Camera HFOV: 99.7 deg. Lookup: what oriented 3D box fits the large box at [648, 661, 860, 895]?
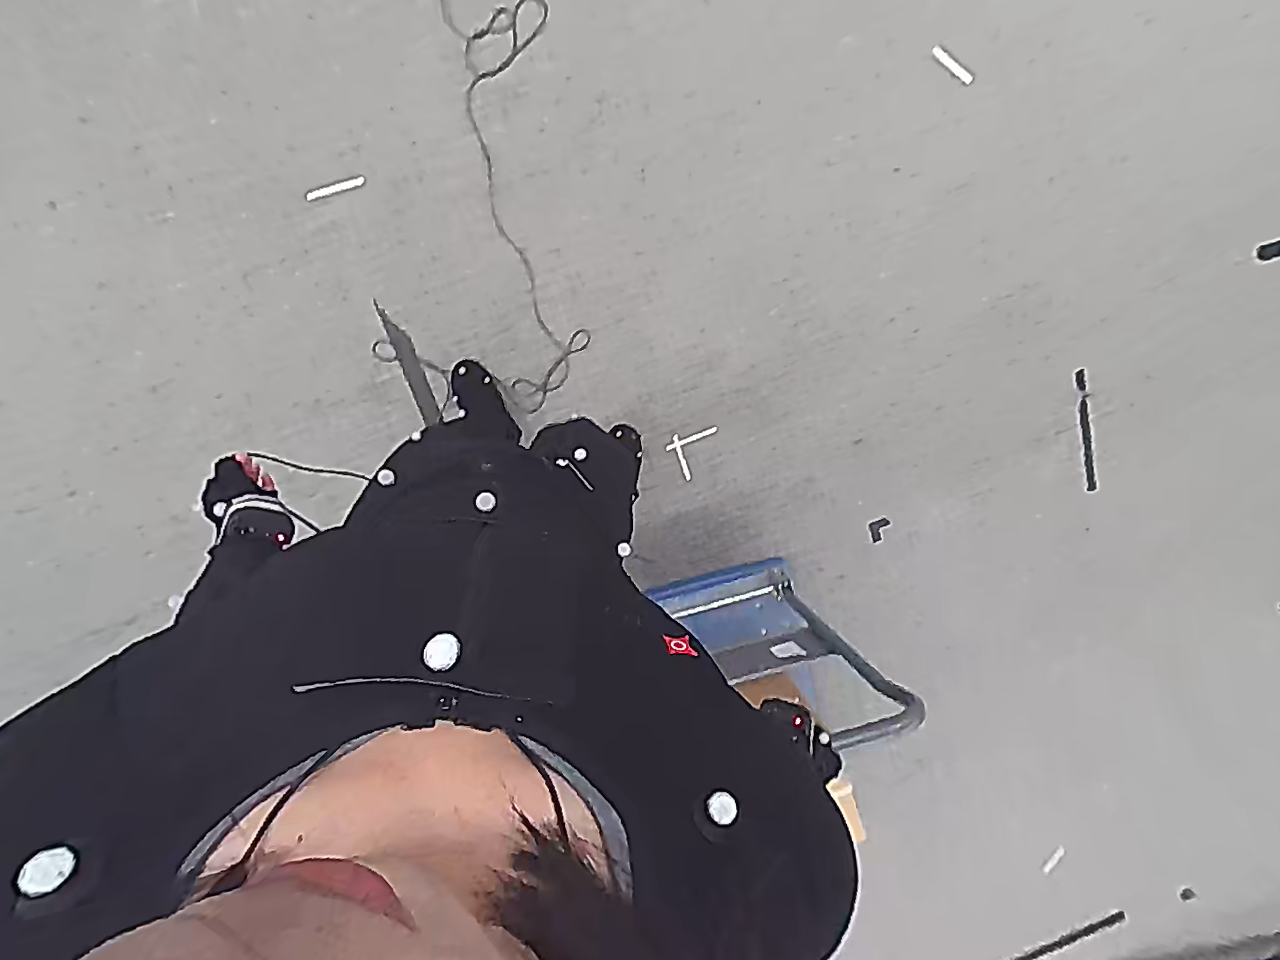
[{"bbox_3d":[0.273,0.736,1.386,0.408,0.320,0.320,-21,102,-2],"label":"large box"}]
